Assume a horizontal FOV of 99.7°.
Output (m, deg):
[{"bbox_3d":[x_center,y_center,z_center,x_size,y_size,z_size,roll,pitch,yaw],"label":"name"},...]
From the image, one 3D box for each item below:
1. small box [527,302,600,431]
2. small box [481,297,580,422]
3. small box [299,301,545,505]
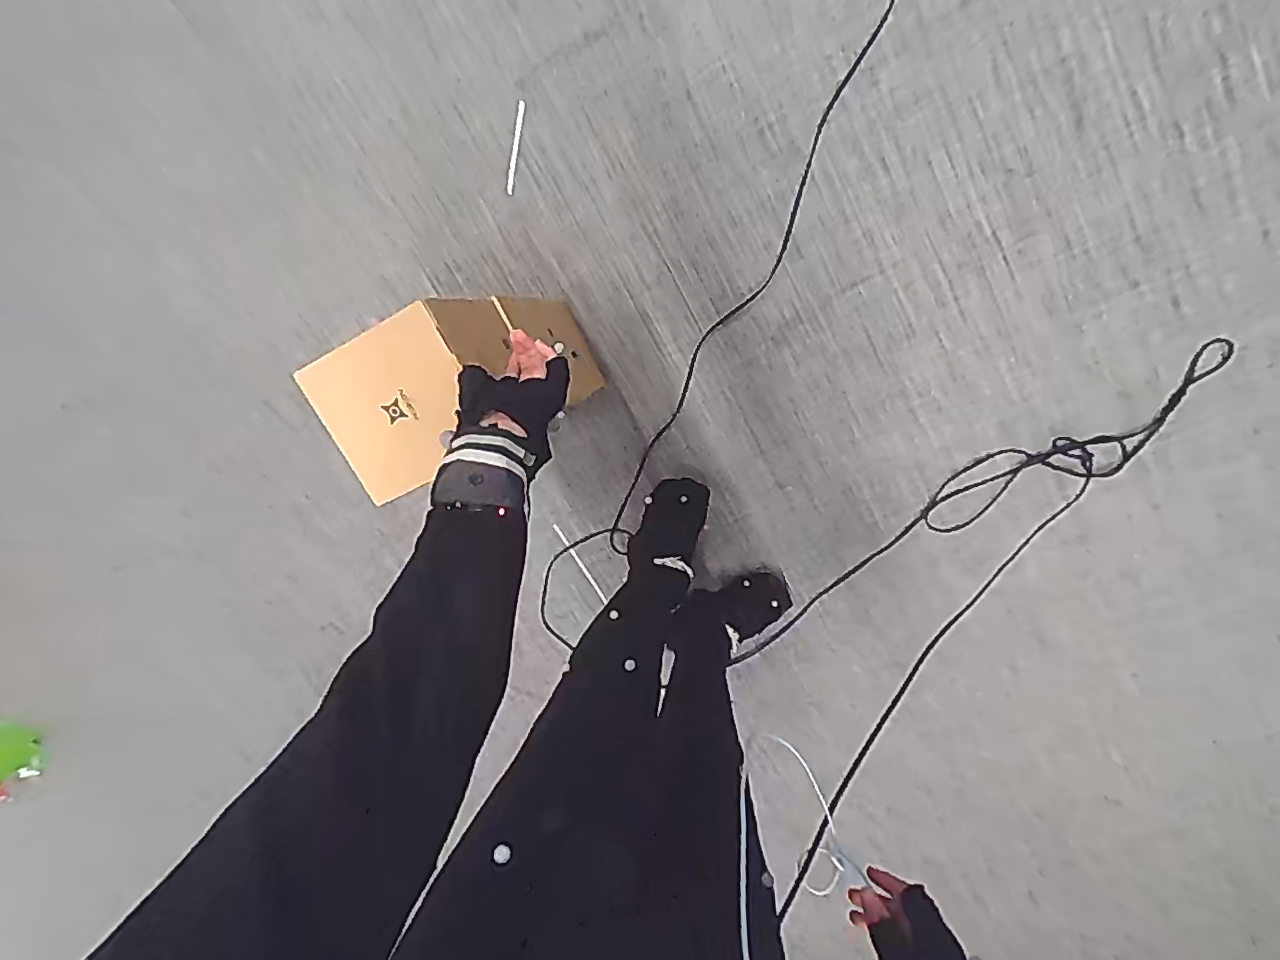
[{"bbox_3d":[-0.187,-0.197,0.949,0.168,0.176,0.179,-24,104,15],"label":"small box"},{"bbox_3d":[-0.212,-0.151,0.793,0.179,0.176,0.168,-23,104,14],"label":"small box"},{"bbox_3d":[-0.241,-0.096,0.643,0.179,0.176,0.168,-24,103,14],"label":"small box"}]
